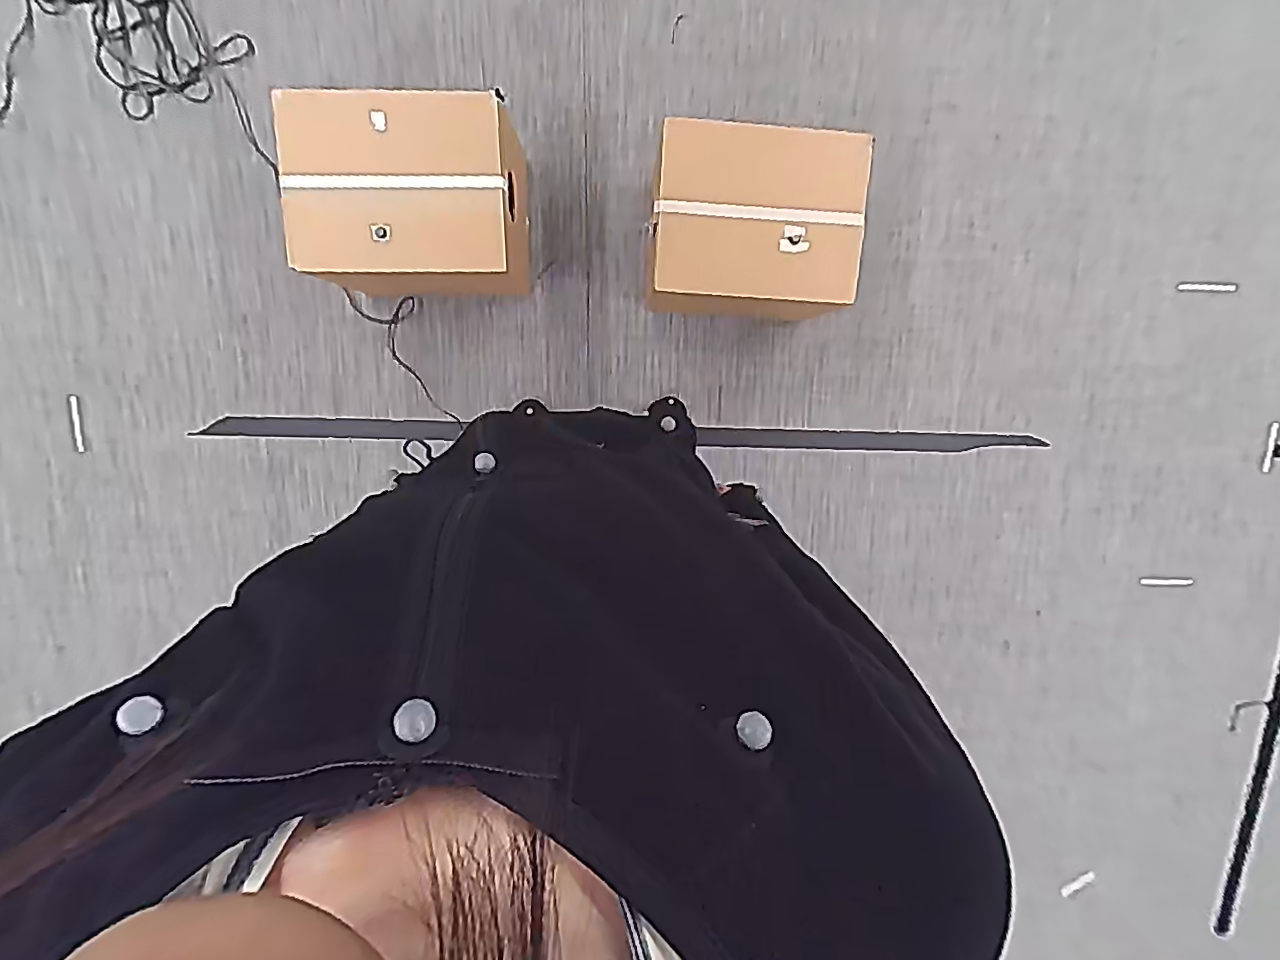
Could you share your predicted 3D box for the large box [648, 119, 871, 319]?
[{"bbox_3d":[0.230,-0.544,1.197,0.408,0.320,0.320,3,100,-4],"label":"large box"}]
